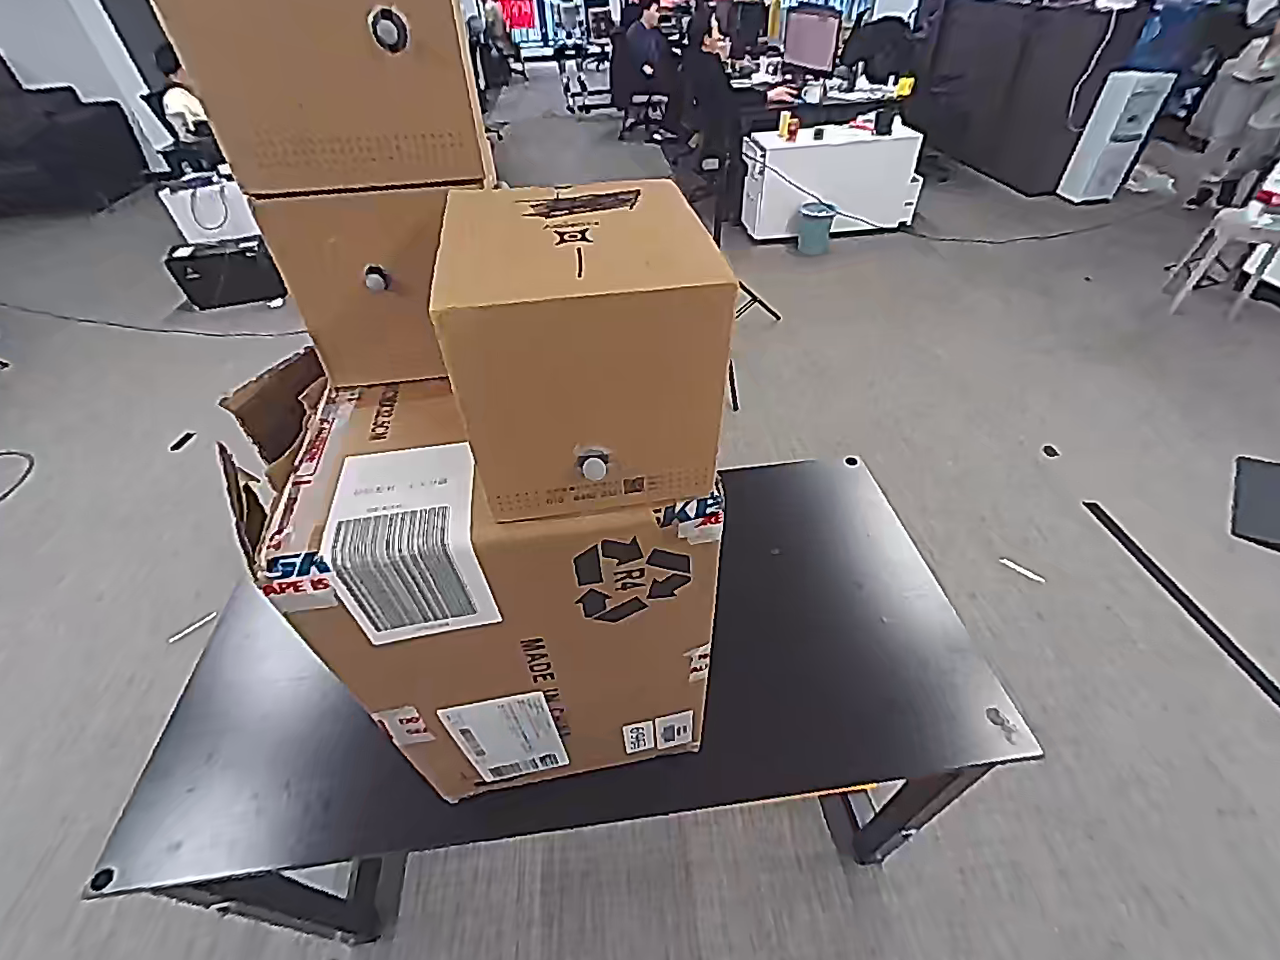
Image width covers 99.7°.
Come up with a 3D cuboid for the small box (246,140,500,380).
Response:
[{"bbox_3d":[-0.217,-0.210,0.518,0.179,0.176,0.168,-8,42,-6],"label":"small box"}]

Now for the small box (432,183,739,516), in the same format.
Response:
[{"bbox_3d":[-0.040,-0.098,0.398,0.168,0.176,0.179,-8,46,-7],"label":"small box"}]

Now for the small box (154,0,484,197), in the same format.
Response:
[{"bbox_3d":[-0.219,-0.328,0.406,0.179,0.176,0.168,-10,42,-8],"label":"small box"}]
